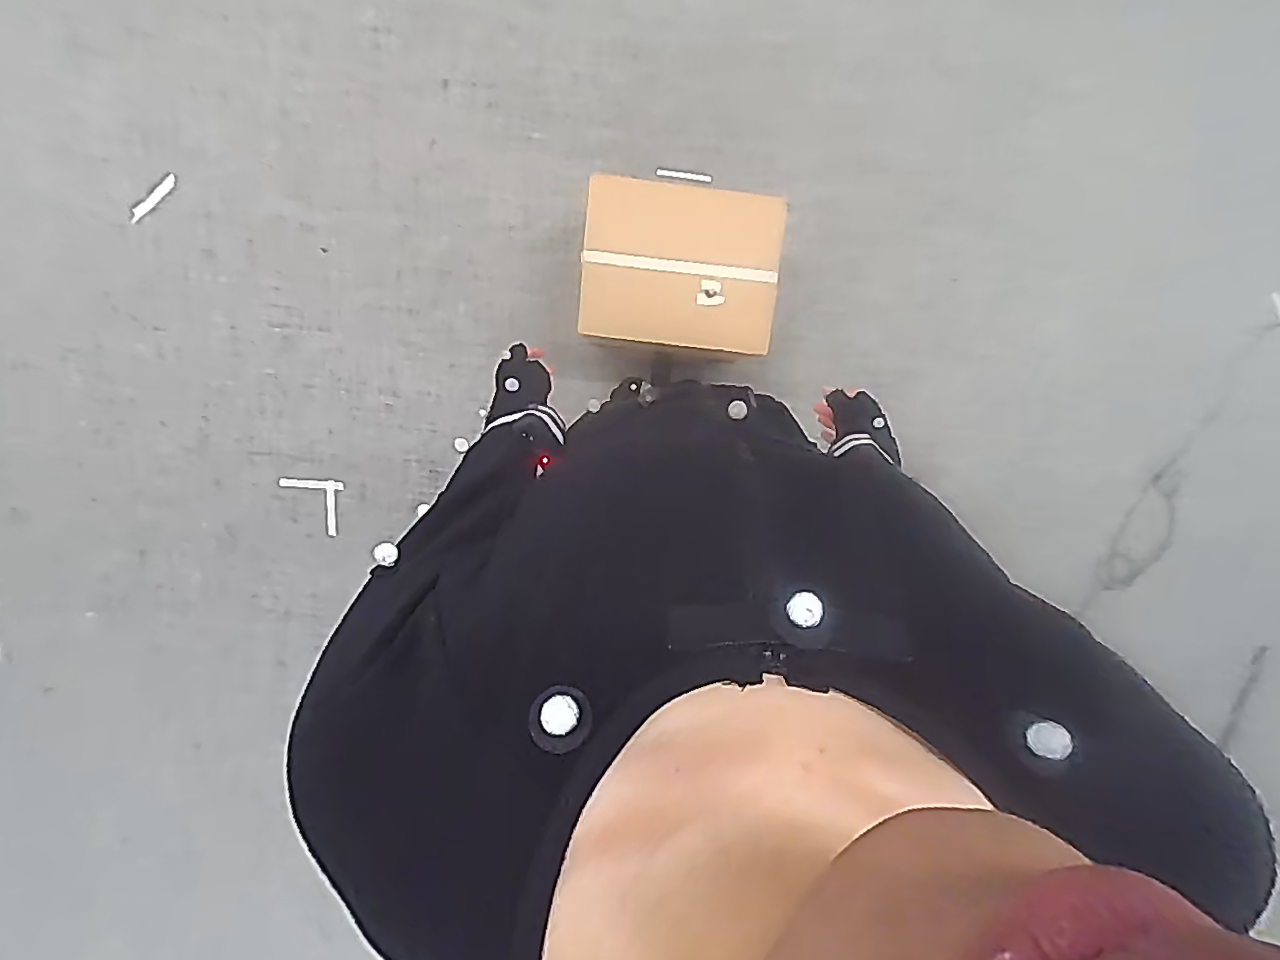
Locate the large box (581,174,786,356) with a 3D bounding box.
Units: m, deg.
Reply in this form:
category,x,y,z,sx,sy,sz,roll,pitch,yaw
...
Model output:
category,x,y,z,sx,sy,sz,roll,pitch,yaw
large box,0.079,-0.468,1.252,0.408,0.320,0.320,6,101,-3
